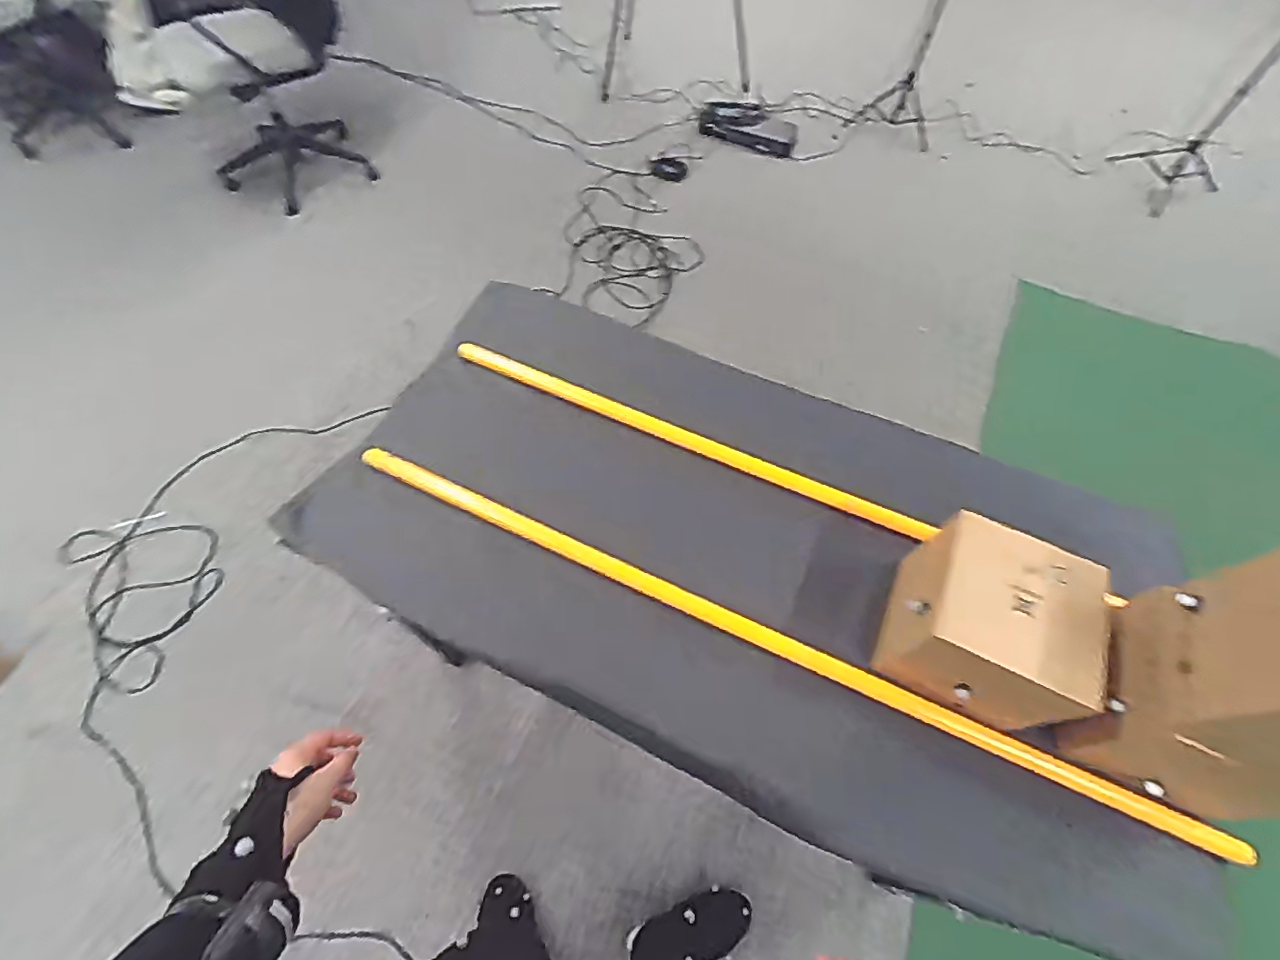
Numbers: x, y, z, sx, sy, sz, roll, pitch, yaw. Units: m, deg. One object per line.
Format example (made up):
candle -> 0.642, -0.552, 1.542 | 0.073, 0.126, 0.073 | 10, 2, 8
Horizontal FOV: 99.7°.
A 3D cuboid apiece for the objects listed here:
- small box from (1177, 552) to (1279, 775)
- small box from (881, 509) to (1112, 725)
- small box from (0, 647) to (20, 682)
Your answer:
small box -> 0.631, 0.174, 0.472 | 0.179, 0.176, 0.168 | 27, 62, 13
small box -> 0.419, 0.173, 0.657 | 0.168, 0.176, 0.179 | 25, 61, 12
small box -> -1.637, 0.442, 1.251 | 0.179, 0.176, 0.168 | 20, 61, 9
